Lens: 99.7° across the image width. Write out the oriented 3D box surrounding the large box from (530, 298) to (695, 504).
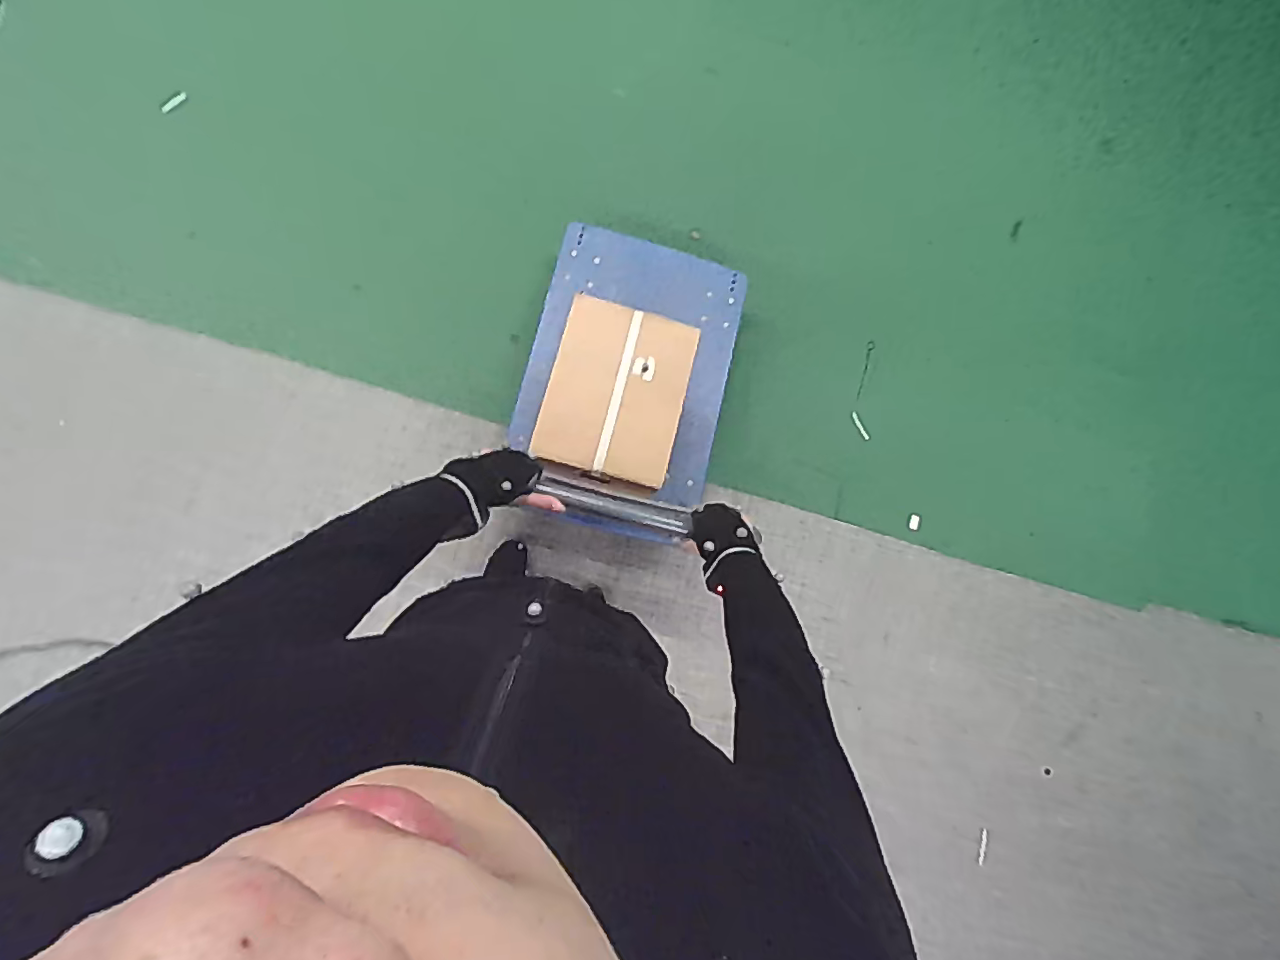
[{"bbox_3d":[-0.077,-0.178,1.391,0.320,0.320,0.408,15,78,-6],"label":"large box"}]
